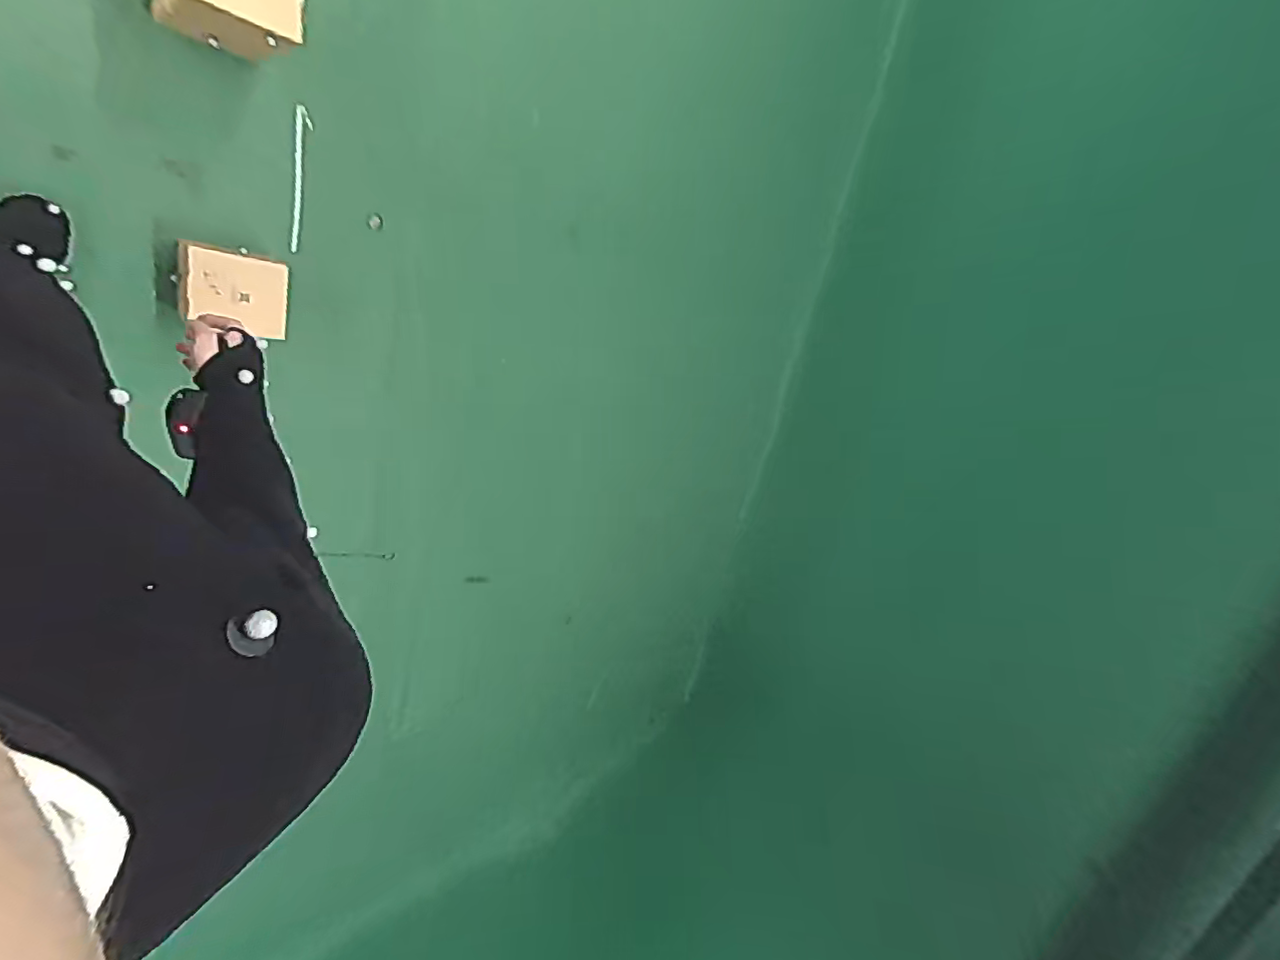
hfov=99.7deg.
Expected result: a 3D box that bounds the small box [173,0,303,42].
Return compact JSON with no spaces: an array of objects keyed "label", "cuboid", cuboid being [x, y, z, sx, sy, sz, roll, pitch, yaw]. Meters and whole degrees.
[{"label":"small box","cuboid":[-0.691,-0.882,0.915,0.179,0.176,0.168,-6,116,-45]}]

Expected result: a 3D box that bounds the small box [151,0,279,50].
[{"label":"small box","cuboid":[-0.799,-0.946,1.017,0.179,0.176,0.168,-5,115,-44]}]

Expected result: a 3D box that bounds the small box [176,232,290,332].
[{"label":"small box","cuboid":[-0.908,-0.441,1.204,0.179,0.176,0.168,-2,114,-45]}]
